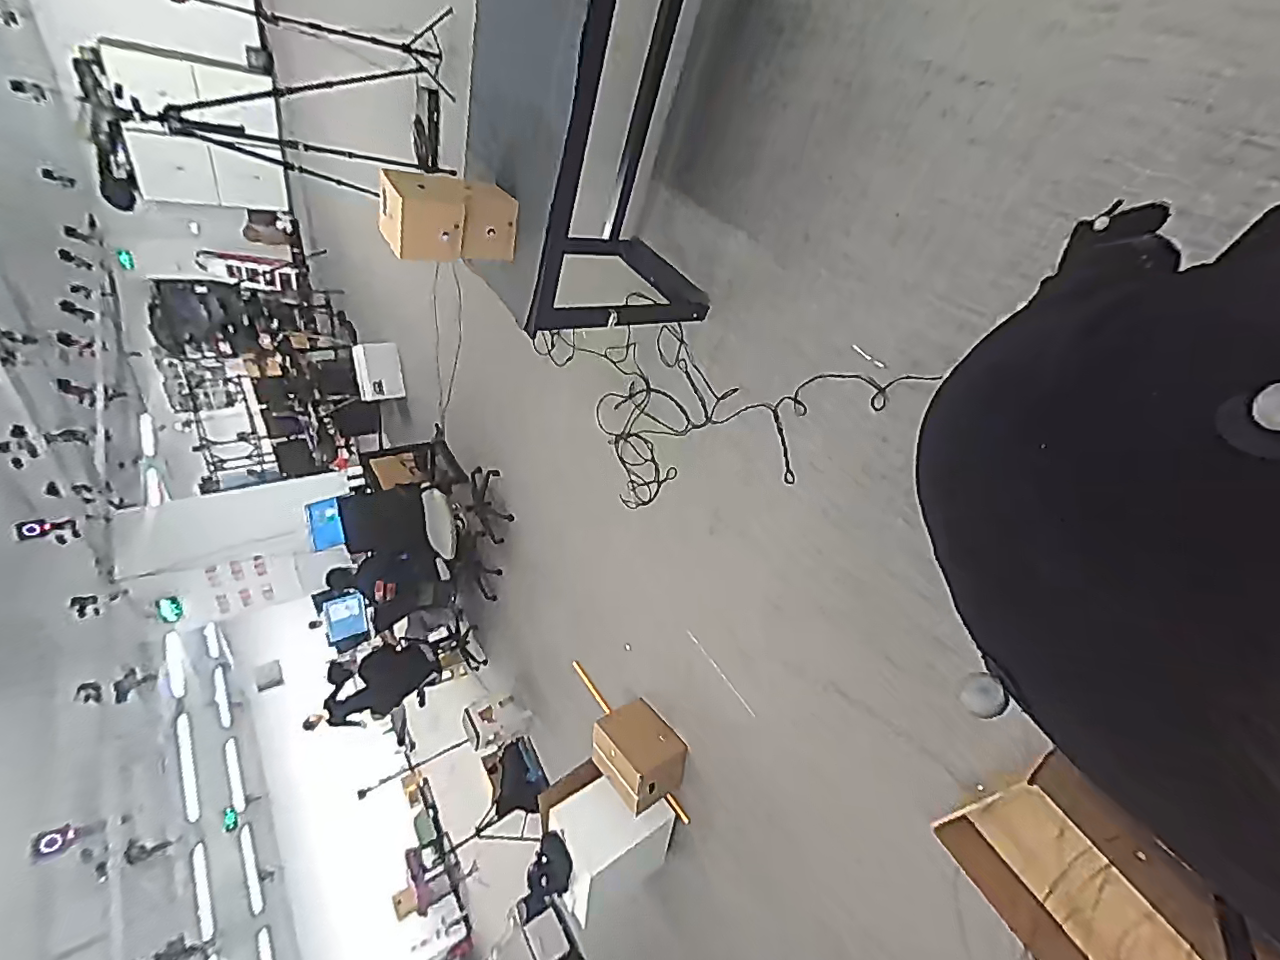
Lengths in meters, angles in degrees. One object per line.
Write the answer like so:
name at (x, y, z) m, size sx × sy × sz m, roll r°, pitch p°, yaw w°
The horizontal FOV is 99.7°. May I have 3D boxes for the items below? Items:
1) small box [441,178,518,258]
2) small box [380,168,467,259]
small box at (-0.472, -0.760, 1.577) m, size 0.179 × 0.176 × 0.168 m, roll 47°, pitch 135°, yaw 34°
small box at (-0.593, -0.718, 1.473) m, size 0.179 × 0.176 × 0.168 m, roll 52°, pitch 138°, yaw 28°
